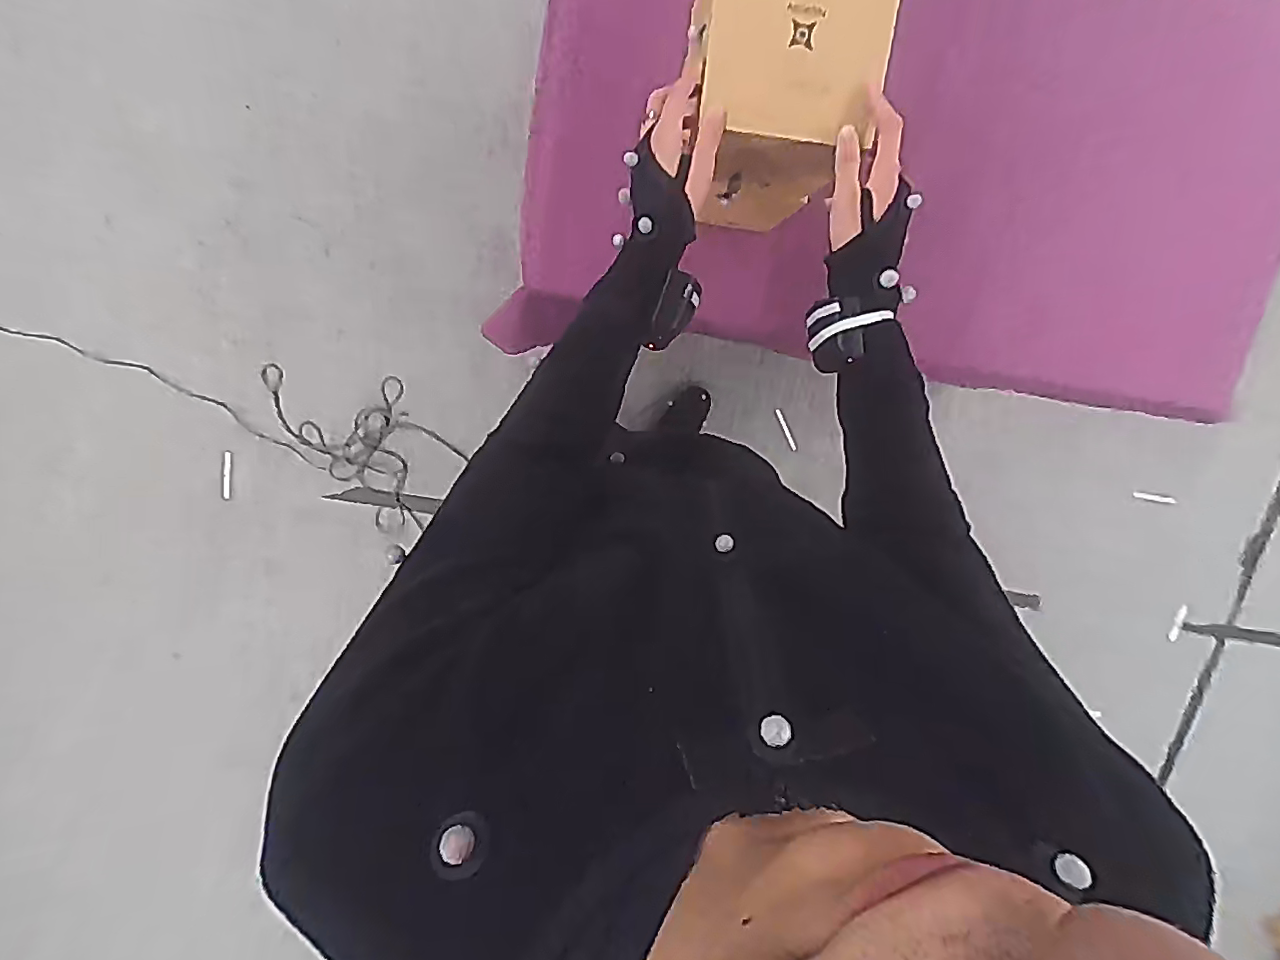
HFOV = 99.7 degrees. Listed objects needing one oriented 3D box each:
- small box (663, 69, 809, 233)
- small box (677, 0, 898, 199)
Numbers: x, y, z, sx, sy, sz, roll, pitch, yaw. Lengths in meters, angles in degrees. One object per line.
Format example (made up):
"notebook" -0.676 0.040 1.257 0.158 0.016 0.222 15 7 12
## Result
"small box" 0.129 -0.448 0.713 0.168 0.176 0.179 7 102 -6
"small box" 0.136 -0.414 0.554 0.168 0.176 0.179 5 104 -5
